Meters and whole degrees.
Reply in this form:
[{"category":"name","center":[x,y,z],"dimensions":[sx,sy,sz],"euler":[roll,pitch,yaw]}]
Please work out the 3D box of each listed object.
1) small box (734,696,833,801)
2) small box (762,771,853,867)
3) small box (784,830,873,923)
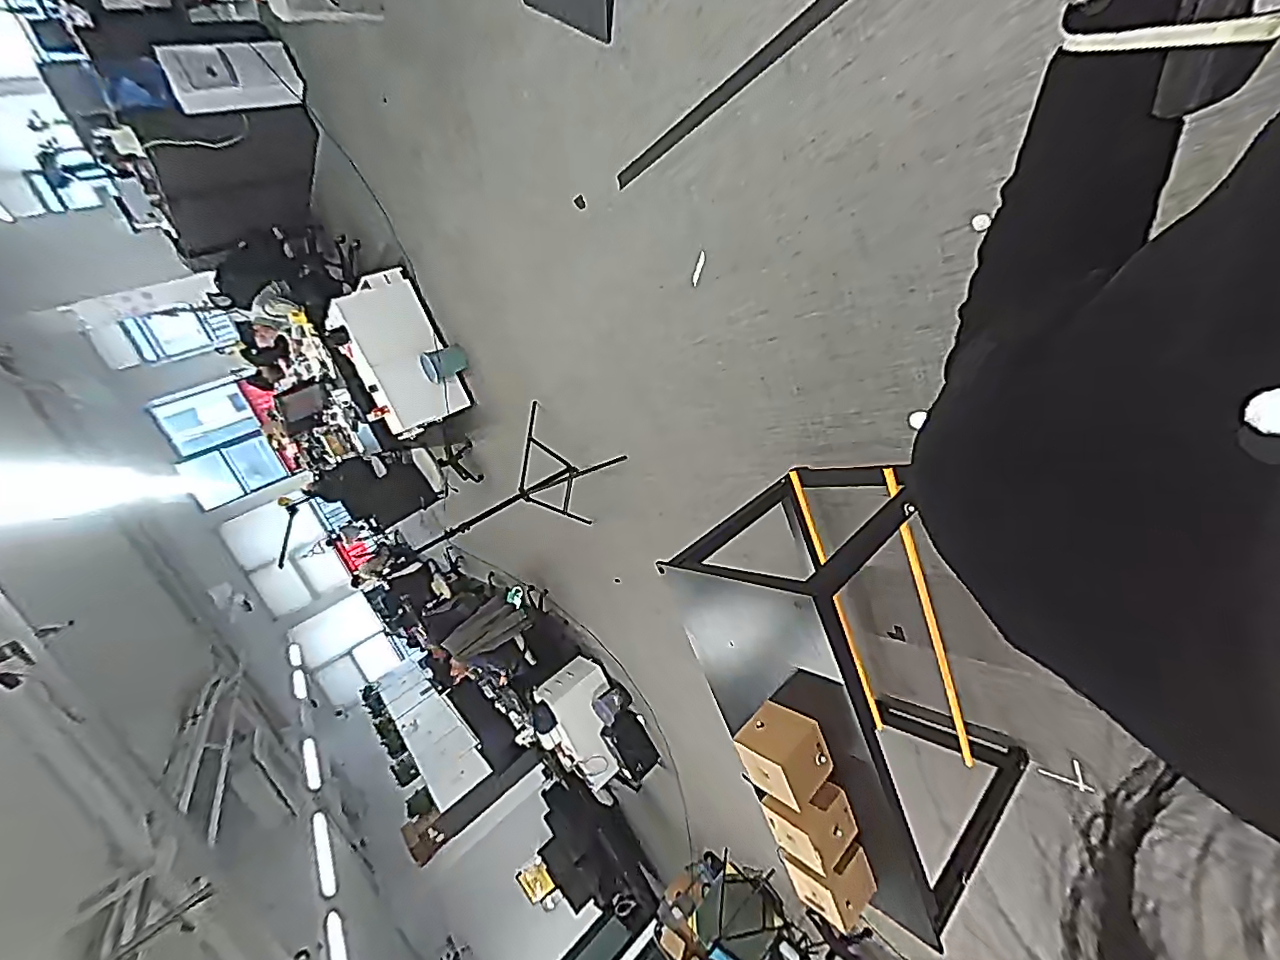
[{"category":"small box","center":[0.397,0.728,1.492],"dimensions":[0.179,0.176,0.168],"euler":[-2,117,56]},{"category":"small box","center":[0.487,0.941,1.552],"dimensions":[0.179,0.176,0.168],"euler":[1,117,56]},{"category":"small box","center":[0.569,1.148,1.619],"dimensions":[0.168,0.176,0.179],"euler":[0,117,55]}]
